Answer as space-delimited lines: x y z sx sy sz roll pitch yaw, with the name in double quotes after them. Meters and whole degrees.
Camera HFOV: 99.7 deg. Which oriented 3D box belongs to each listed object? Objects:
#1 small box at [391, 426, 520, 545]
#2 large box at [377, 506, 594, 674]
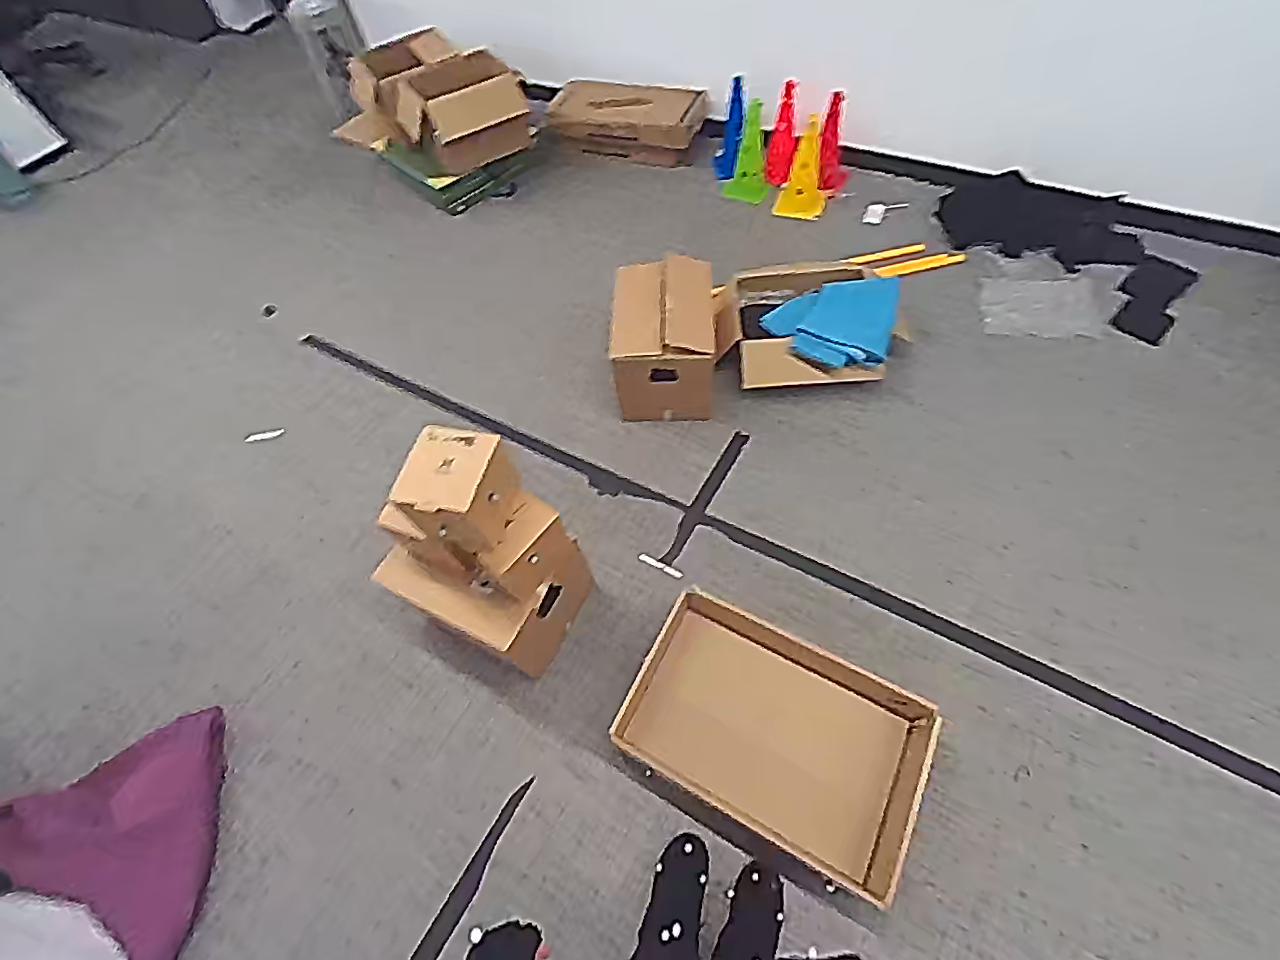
-0.363 0.016 1.104 0.168 0.176 0.179 9 61 11 "small box"
-0.382 0.263 1.434 0.408 0.320 0.320 21 64 16 "large box"
